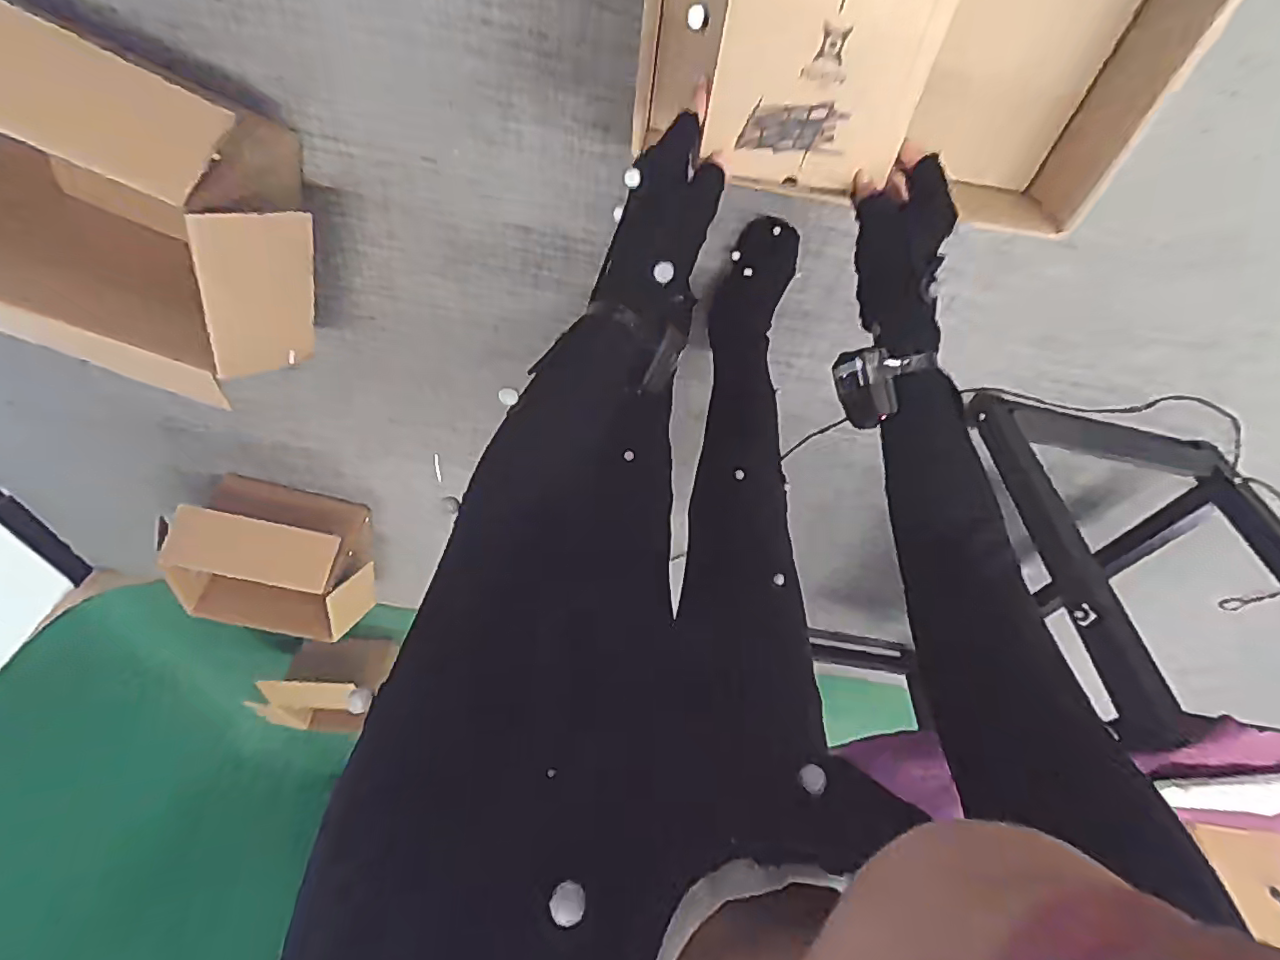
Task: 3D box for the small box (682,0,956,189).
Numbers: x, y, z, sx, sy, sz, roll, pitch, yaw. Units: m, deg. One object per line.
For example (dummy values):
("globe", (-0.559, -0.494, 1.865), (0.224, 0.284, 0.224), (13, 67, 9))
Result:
("small box", (0.133, -0.374, 0.455), (0.168, 0.176, 0.179), (4, 133, -7))
